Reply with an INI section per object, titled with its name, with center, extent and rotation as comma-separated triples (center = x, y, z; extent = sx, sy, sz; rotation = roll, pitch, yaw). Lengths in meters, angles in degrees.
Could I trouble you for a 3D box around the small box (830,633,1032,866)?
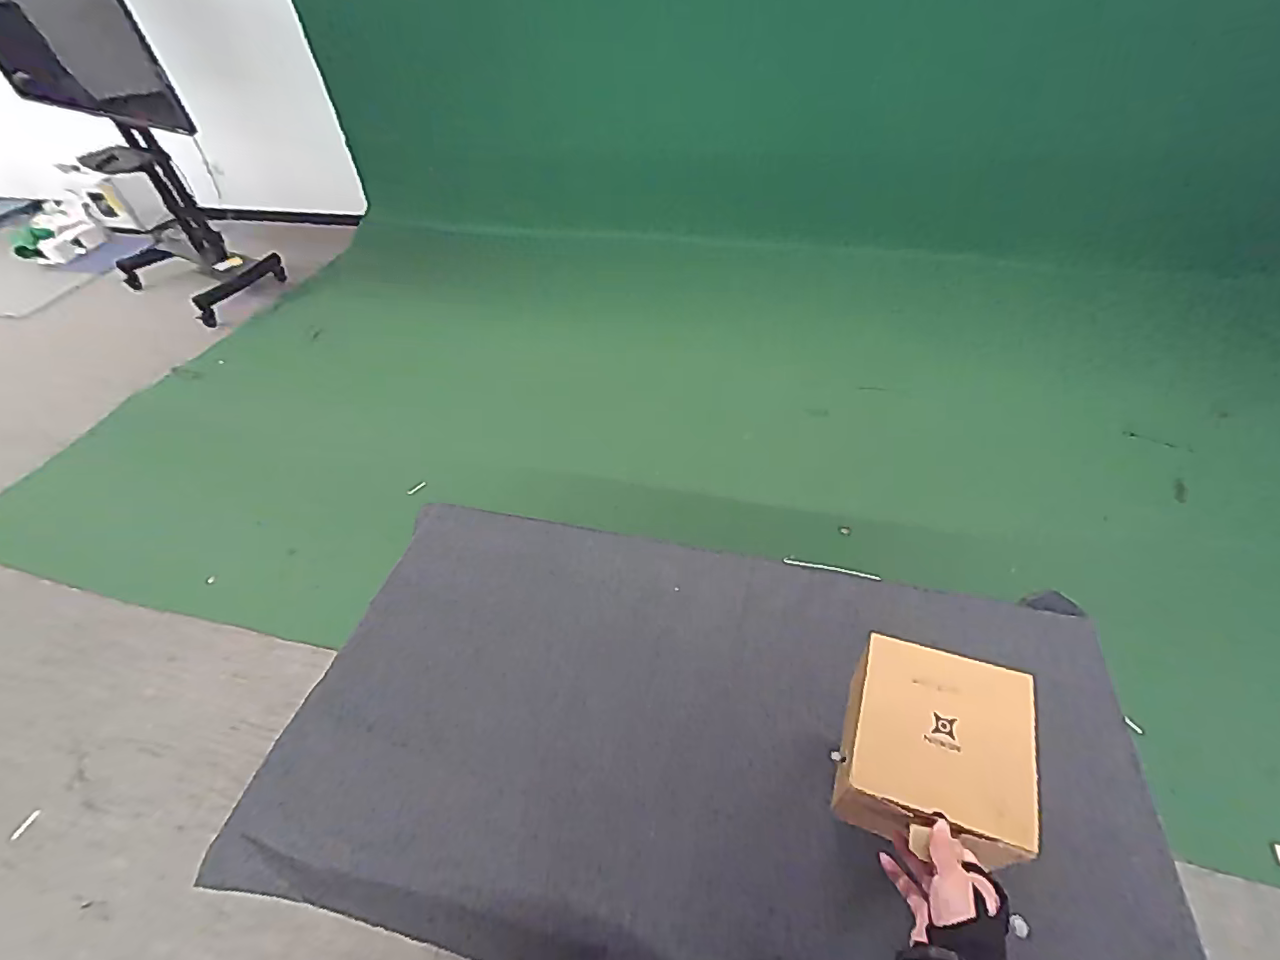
[small box]
center = 0.325, 0.312, 0.626
extent = 0.168, 0.176, 0.179
rotation = 13, 53, 19
